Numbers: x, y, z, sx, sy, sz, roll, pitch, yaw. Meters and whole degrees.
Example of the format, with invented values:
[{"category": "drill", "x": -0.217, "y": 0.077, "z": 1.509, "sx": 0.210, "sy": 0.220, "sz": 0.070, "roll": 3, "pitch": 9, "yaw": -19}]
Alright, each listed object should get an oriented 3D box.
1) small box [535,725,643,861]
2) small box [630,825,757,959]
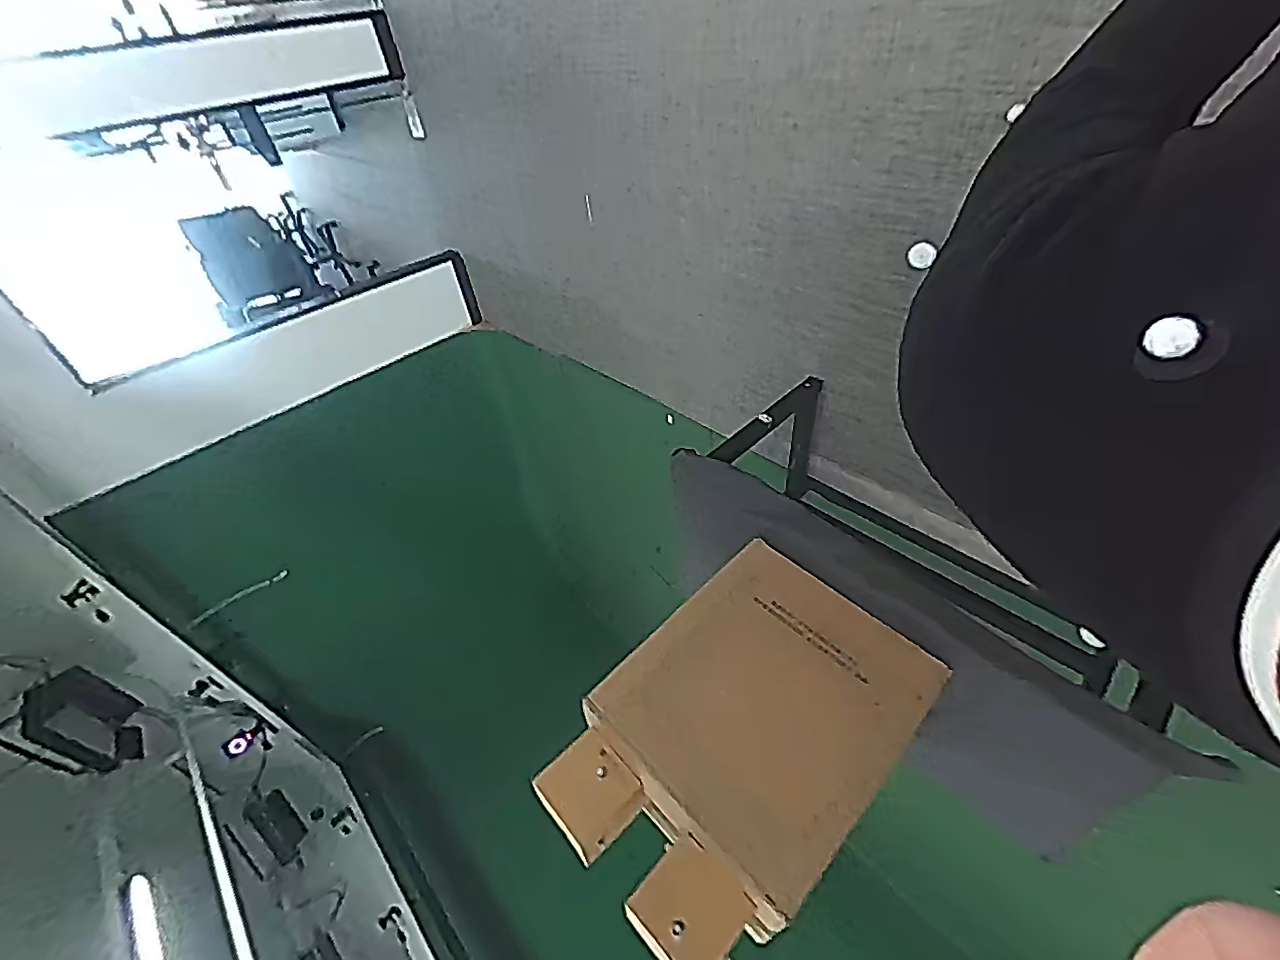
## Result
[{"category": "small box", "x": -0.105, "y": 0.684, "z": 1.190, "sx": 0.168, "sy": 0.176, "sz": 0.179, "roll": 36, "pitch": 145, "yaw": 32}, {"category": "small box", "x": 0.100, "y": 0.811, "z": 1.032, "sx": 0.179, "sy": 0.176, "sz": 0.168, "roll": 36, "pitch": 144, "yaw": 31}]
